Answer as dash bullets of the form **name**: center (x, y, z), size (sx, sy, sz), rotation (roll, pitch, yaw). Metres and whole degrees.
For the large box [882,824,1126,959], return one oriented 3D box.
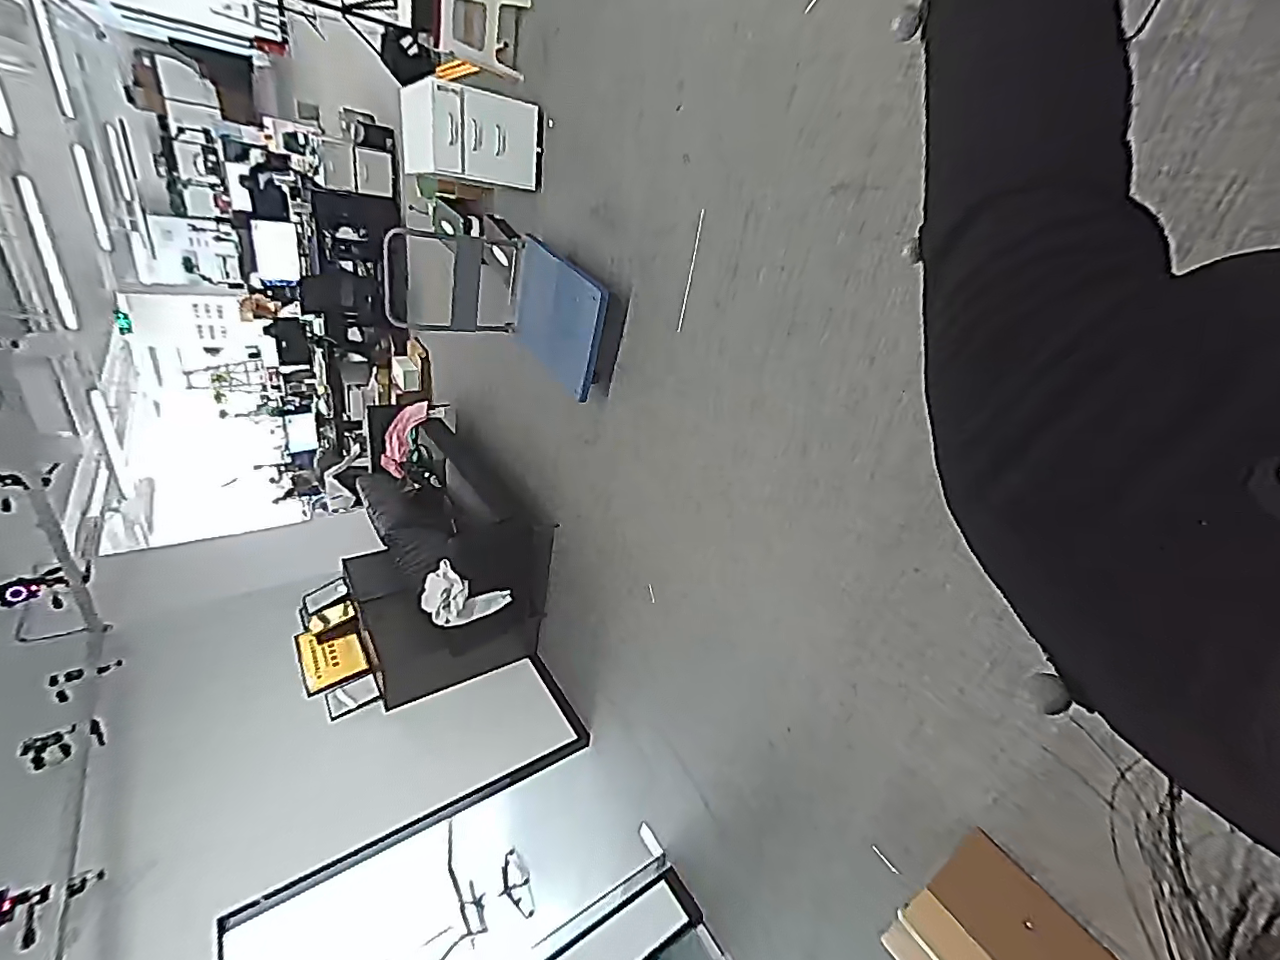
- **large box**: center (0.958, 1.255, 1.451), size (0.408, 0.320, 0.320), rotation (40, 130, 40)
